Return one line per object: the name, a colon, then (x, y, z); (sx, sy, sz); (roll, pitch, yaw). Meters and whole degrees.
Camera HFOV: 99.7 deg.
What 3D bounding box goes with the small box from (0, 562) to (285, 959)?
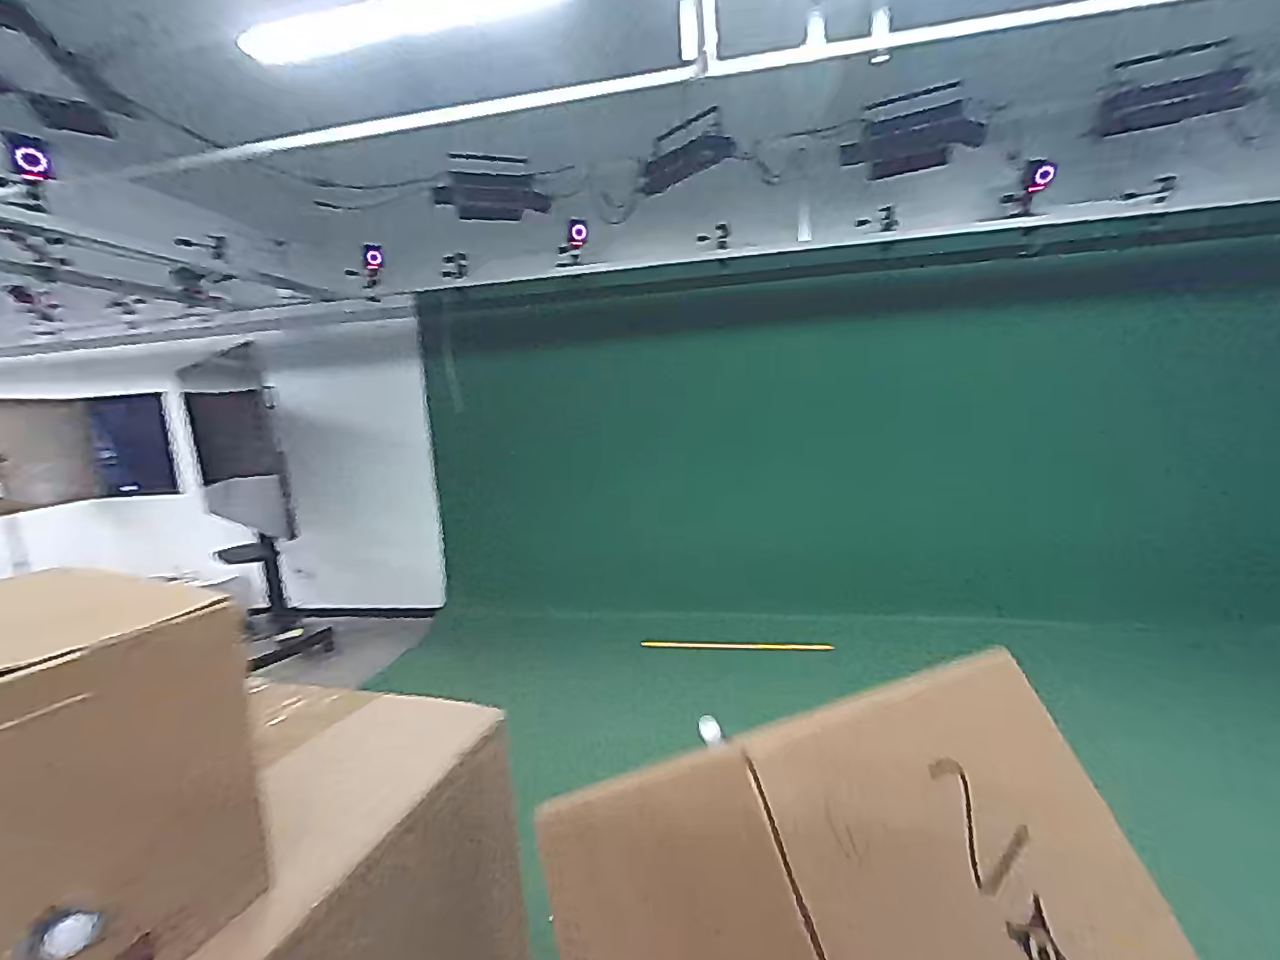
small box: (-0.306, 0.147, 0.254); (0.179, 0.176, 0.168); (3, 9, 22)
